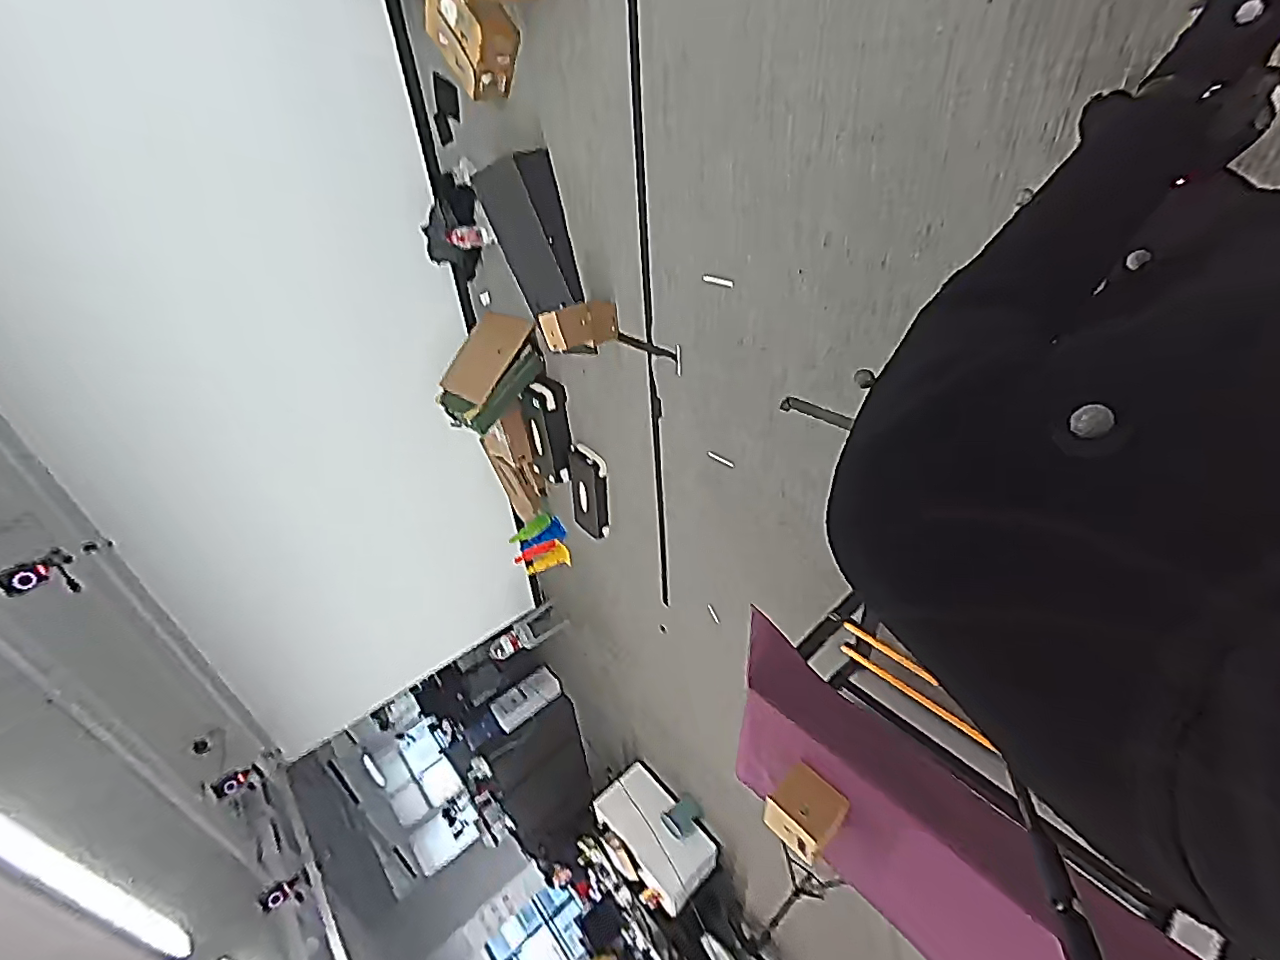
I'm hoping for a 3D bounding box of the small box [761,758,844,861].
[{"bbox_3d":[0.498,1.005,1.660,0.179,0.176,0.168,32,139,40],"label":"small box"}]
